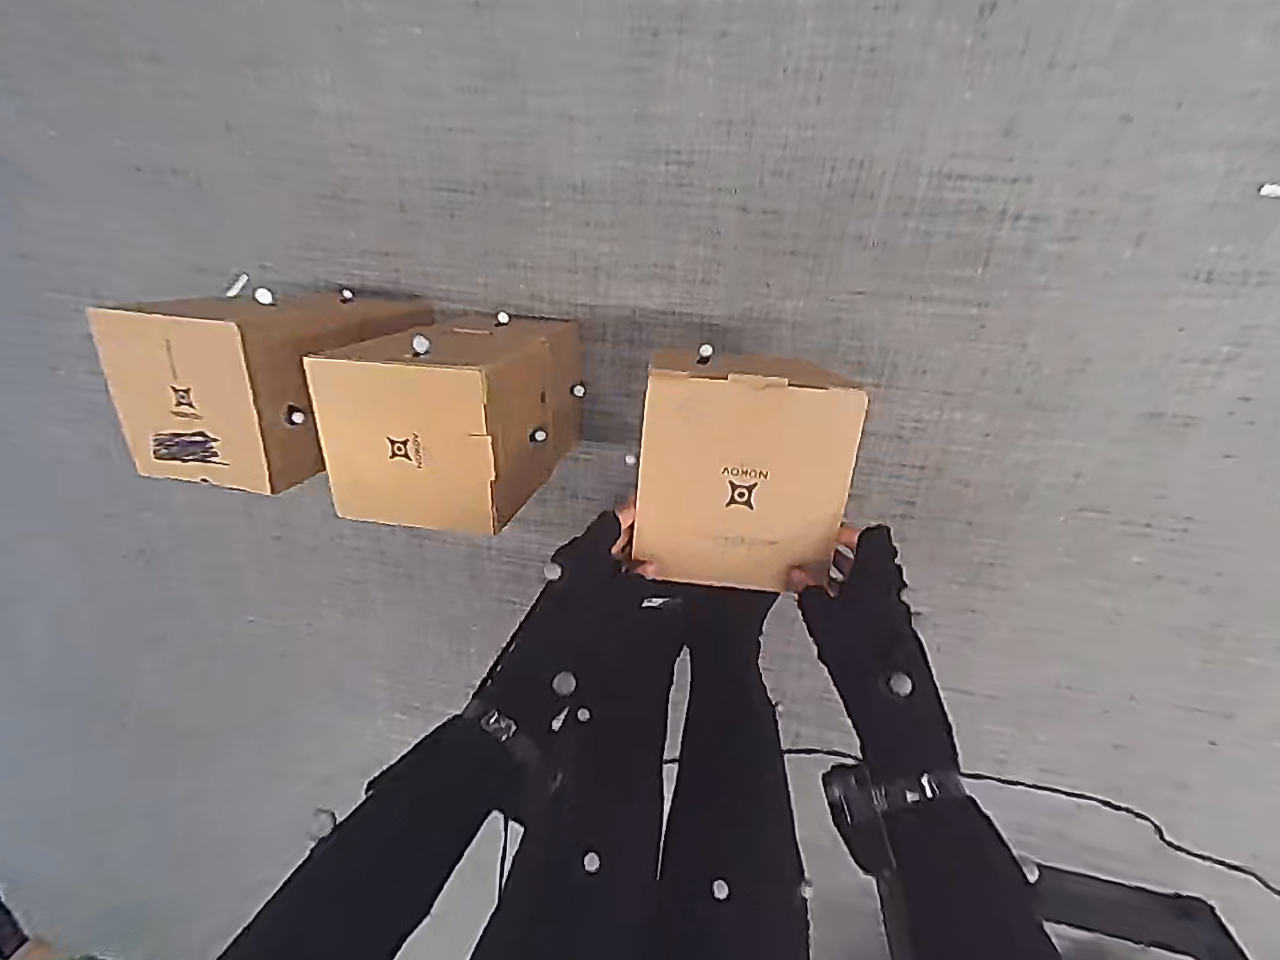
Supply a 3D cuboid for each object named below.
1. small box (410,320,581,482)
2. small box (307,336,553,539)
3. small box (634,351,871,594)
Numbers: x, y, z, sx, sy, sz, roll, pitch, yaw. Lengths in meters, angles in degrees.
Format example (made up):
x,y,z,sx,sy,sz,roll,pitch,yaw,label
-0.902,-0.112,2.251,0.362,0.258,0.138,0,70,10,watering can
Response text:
x,y,z,sx,sy,sz,roll,pitch,yaw,label
-0.180,-0.115,0.726,0.168,0.176,0.179,6,113,9,small box
-0.204,-0.057,0.575,0.179,0.176,0.168,5,114,8,small box
0.087,-0.020,0.503,0.168,0.176,0.179,6,110,2,small box
